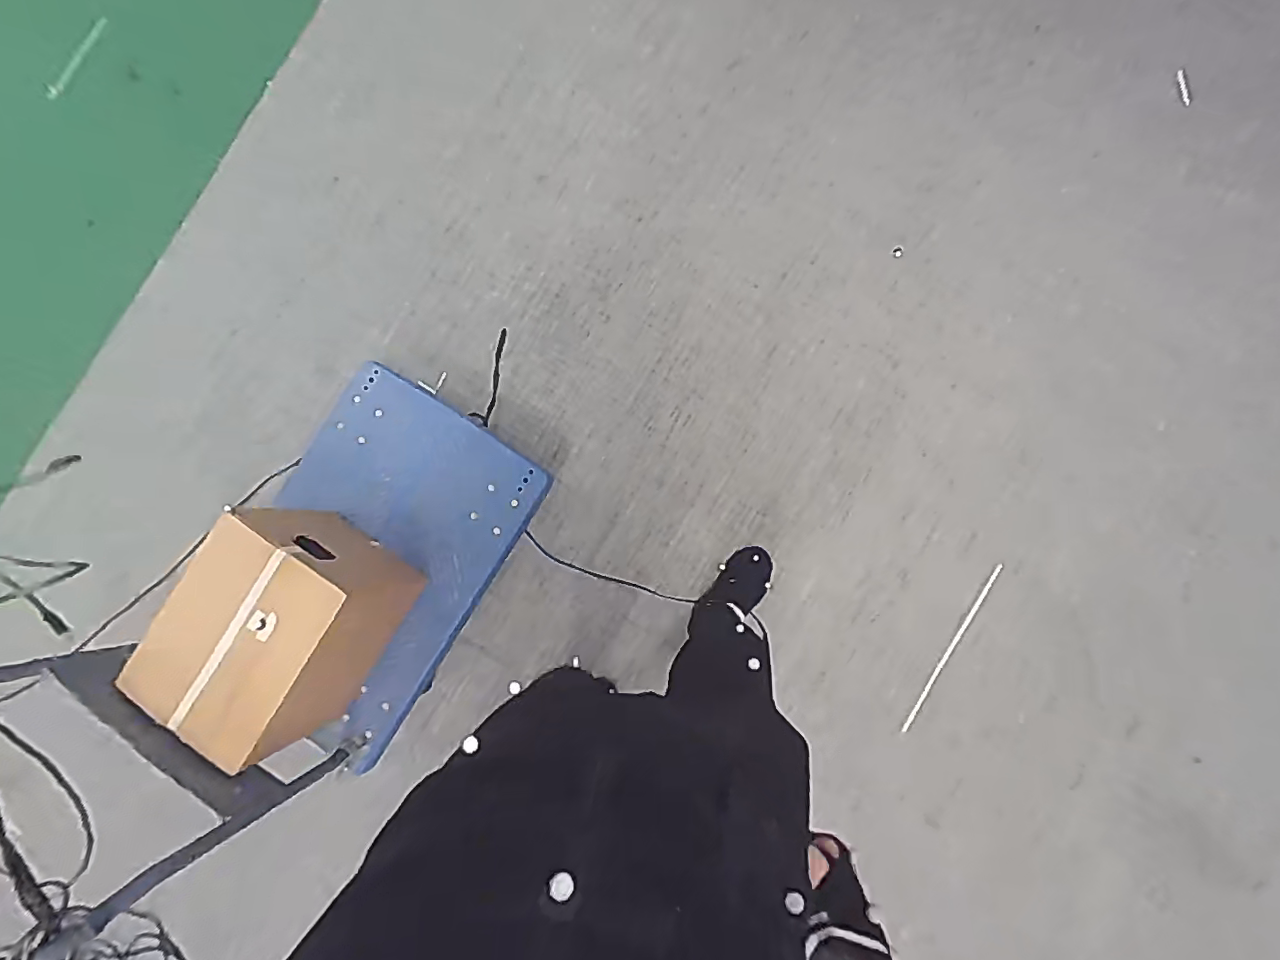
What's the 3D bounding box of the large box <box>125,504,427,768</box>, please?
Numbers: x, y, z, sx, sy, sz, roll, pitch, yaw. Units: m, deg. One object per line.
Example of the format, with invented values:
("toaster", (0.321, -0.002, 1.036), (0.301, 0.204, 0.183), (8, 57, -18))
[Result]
("large box", (-0.755, 0.308, 1.176), (0.320, 0.320, 0.408), (32, 89, 7))
